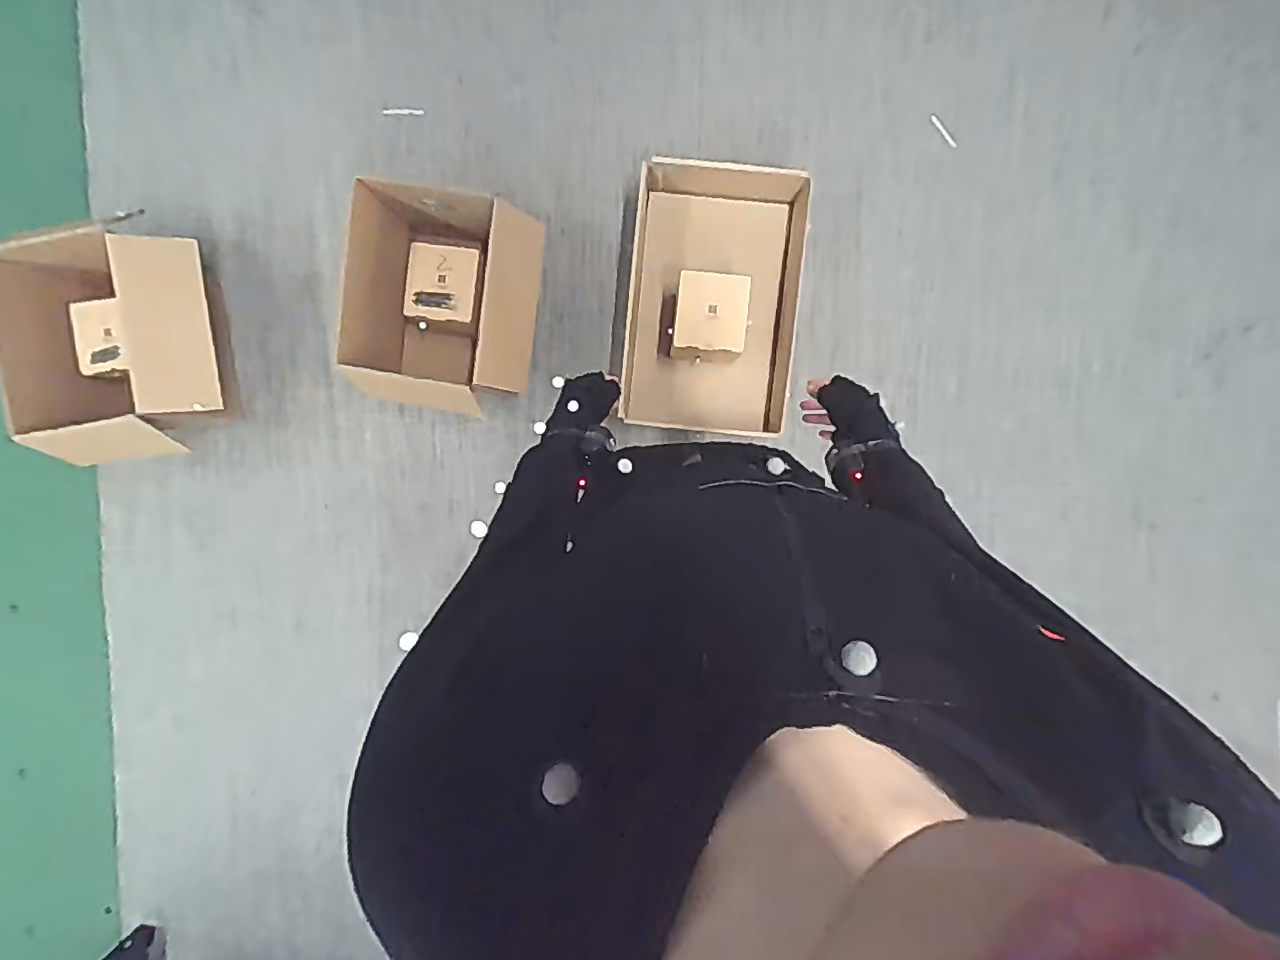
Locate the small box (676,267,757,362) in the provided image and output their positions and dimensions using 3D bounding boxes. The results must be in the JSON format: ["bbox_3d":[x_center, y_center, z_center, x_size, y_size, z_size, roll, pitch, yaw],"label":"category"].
[{"bbox_3d":[0.178,-0.395,1.312,0.168,0.176,0.179,5,93,1],"label":"small box"}]
